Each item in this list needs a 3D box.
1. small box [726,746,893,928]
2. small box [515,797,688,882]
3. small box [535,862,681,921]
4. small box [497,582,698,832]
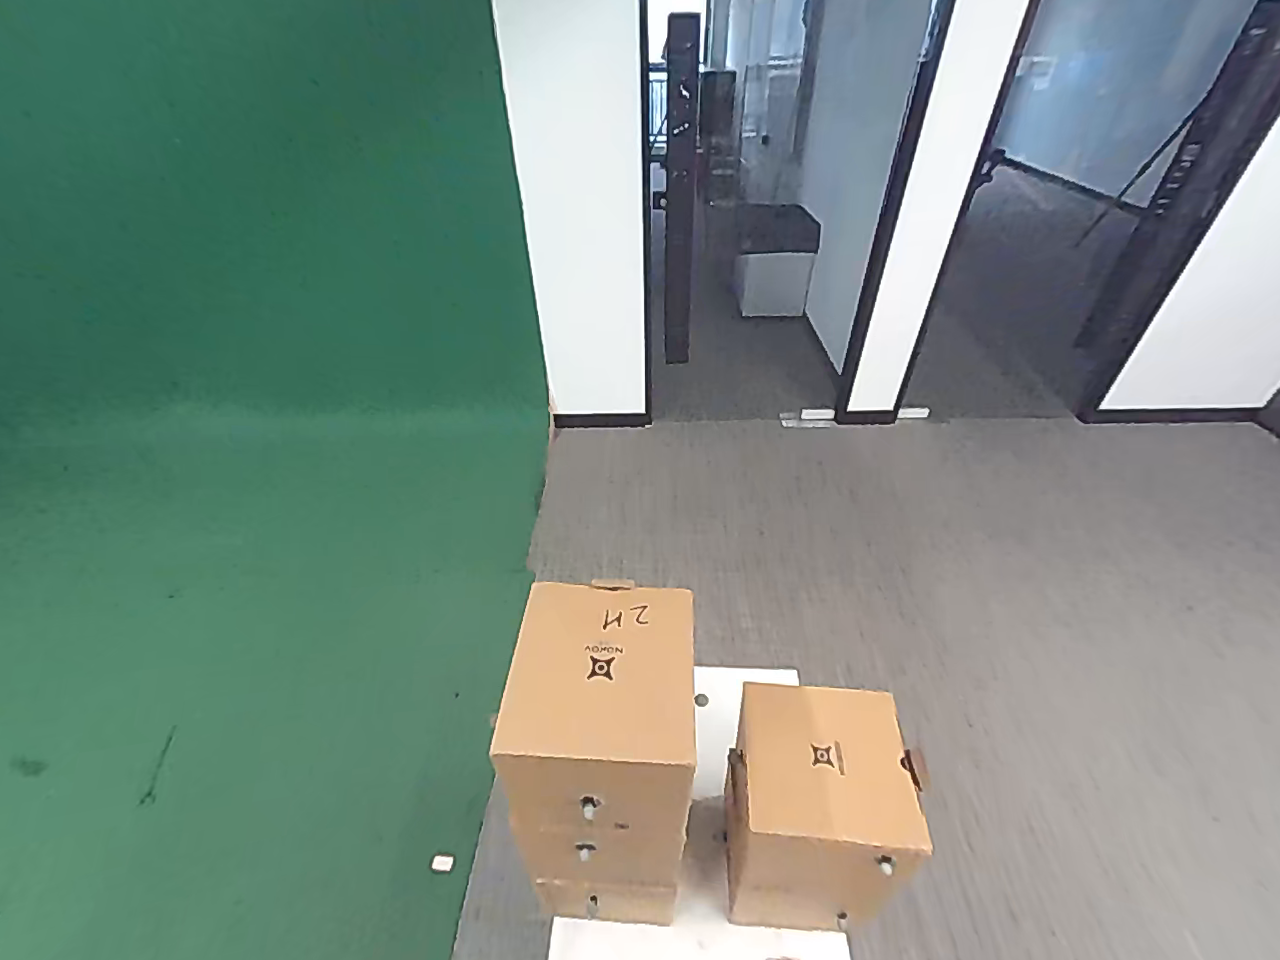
[{"bbox_3d":[0.214,0.486,0.737,0.179,0.176,0.168,0,40,5],"label":"small box"},{"bbox_3d":[-0.034,0.354,0.642,0.179,0.176,0.168,3,40,2],"label":"small box"},{"bbox_3d":[-0.032,0.483,0.745,0.179,0.176,0.168,2,41,3],"label":"small box"},{"bbox_3d":[-0.029,0.226,0.539,0.168,0.176,0.179,3,40,2],"label":"small box"}]
